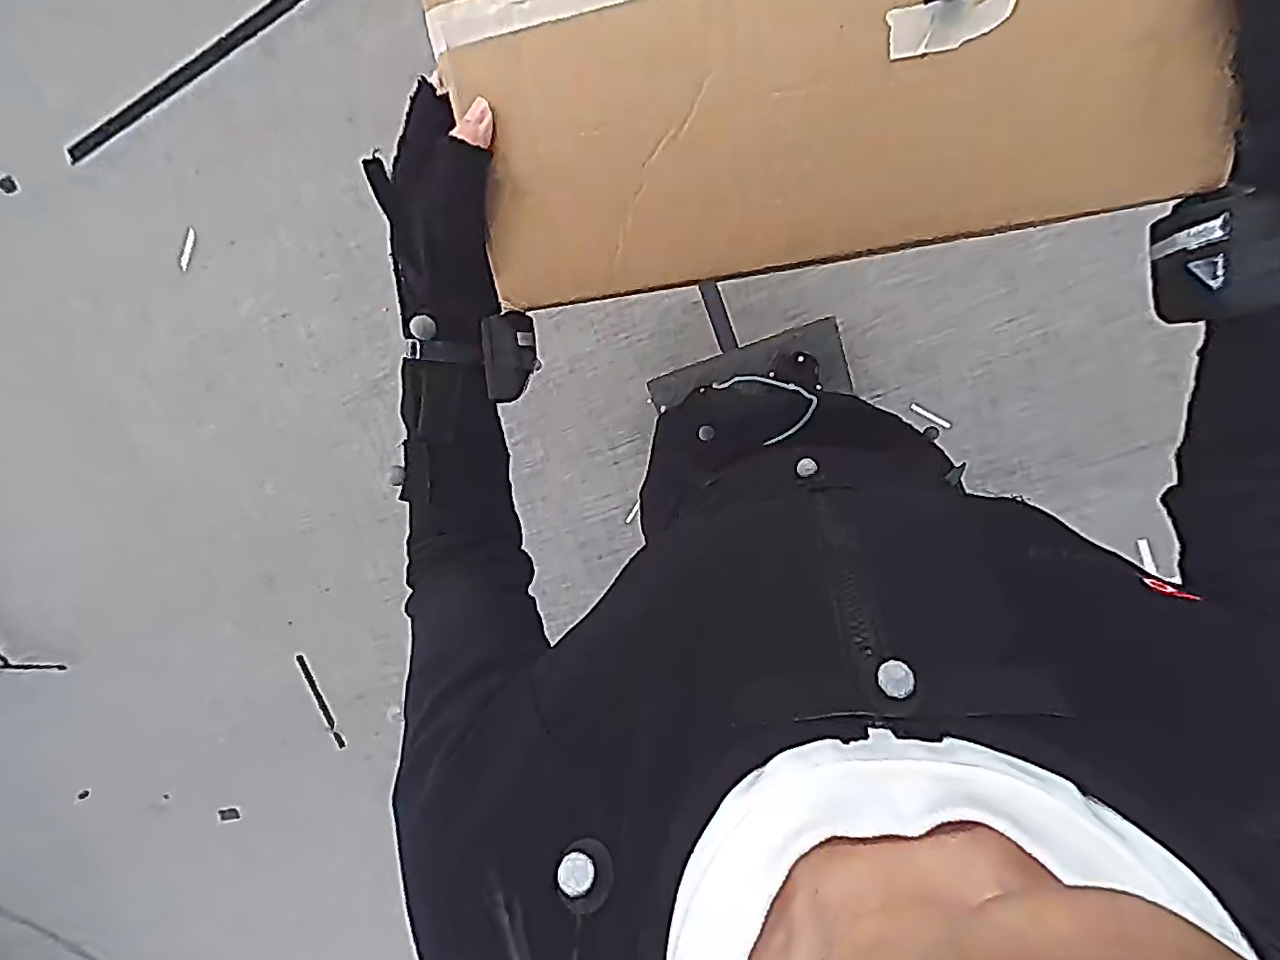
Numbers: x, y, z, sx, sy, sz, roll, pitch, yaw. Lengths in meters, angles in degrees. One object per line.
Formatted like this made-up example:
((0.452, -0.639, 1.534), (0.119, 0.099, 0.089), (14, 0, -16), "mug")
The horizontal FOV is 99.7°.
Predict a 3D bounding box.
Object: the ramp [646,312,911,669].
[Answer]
((0.416, 0.096, 1.516), (0.509, 0.206, 0.991), (-19, 99, 12), "ramp")

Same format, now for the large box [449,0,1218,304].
((0.103, -0.336, 0.423), (0.408, 0.320, 0.320), (-6, 110, 11), "large box")
